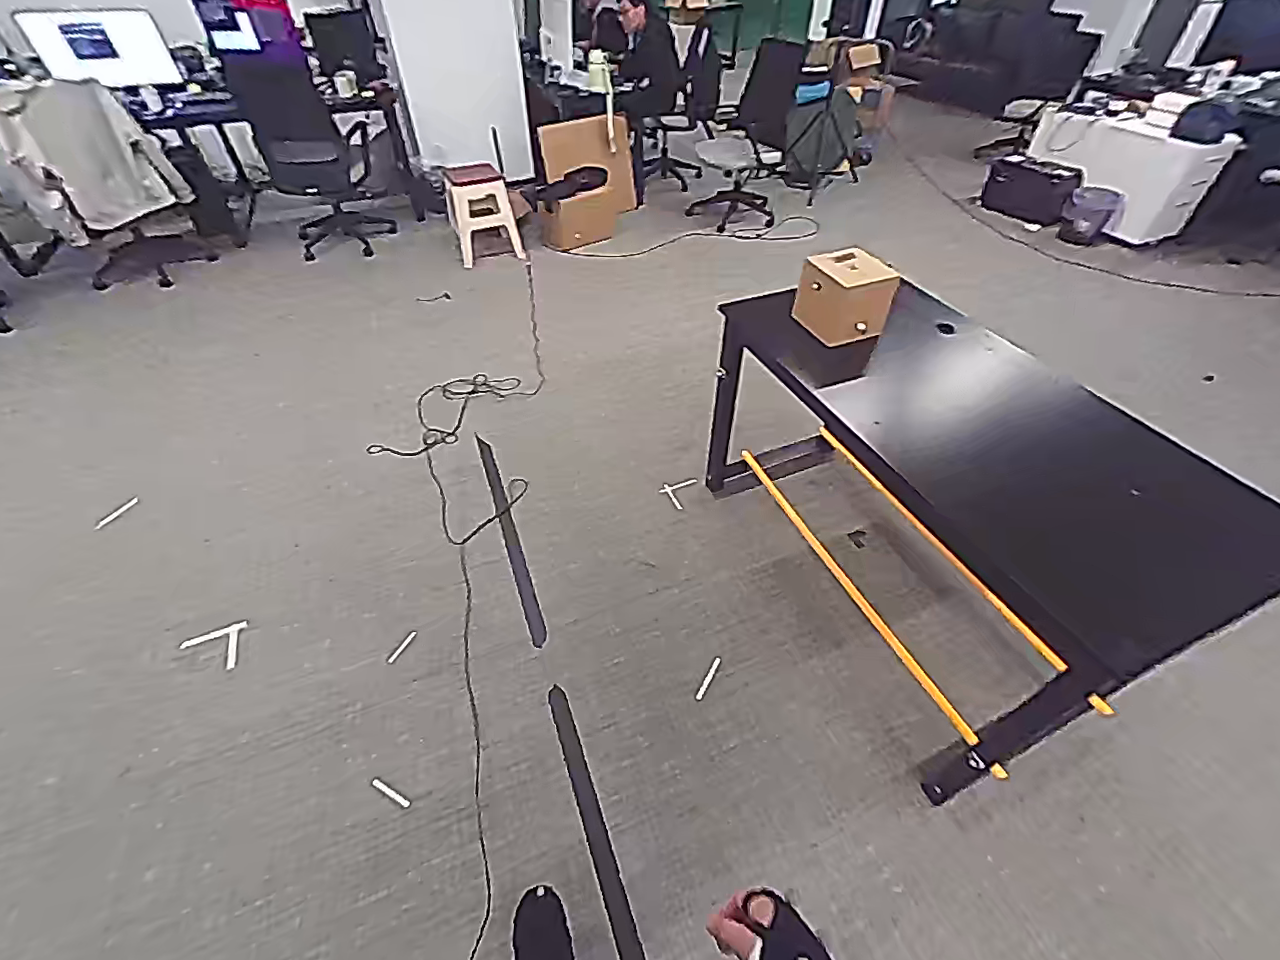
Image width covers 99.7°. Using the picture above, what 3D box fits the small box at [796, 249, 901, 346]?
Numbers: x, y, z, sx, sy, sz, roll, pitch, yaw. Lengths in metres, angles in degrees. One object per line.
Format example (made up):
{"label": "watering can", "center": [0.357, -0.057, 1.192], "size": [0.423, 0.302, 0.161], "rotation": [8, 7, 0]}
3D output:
{"label": "small box", "center": [0.533, -0.476, 1.411], "size": [0.168, 0.176, 0.179], "rotation": [-17, 49, -15]}
